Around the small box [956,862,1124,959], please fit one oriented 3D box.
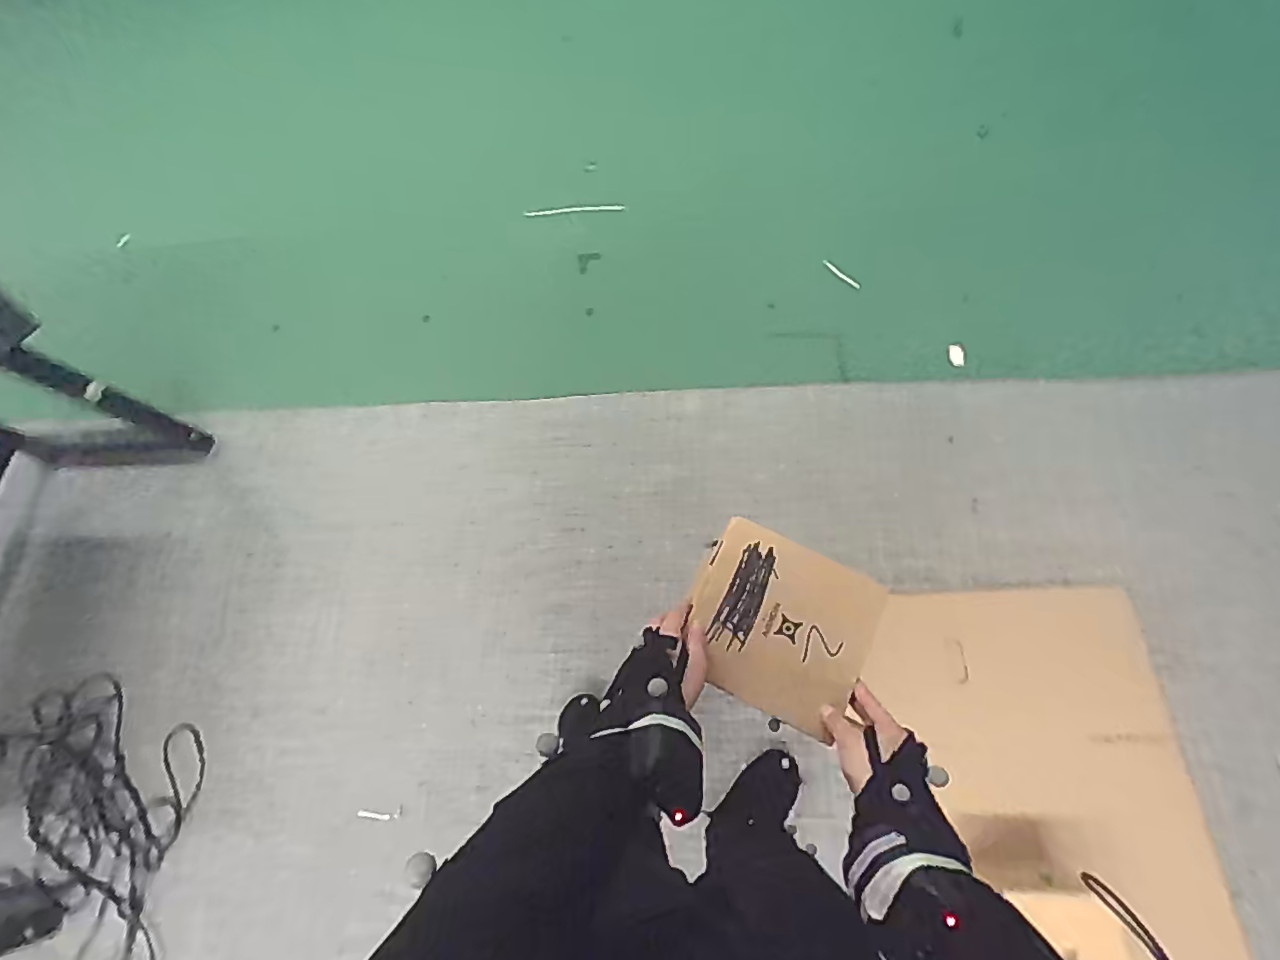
[{"bbox_3d":[0.648,0.753,0.885,0.168,0.176,0.179,-2,70,7],"label":"small box"}]
